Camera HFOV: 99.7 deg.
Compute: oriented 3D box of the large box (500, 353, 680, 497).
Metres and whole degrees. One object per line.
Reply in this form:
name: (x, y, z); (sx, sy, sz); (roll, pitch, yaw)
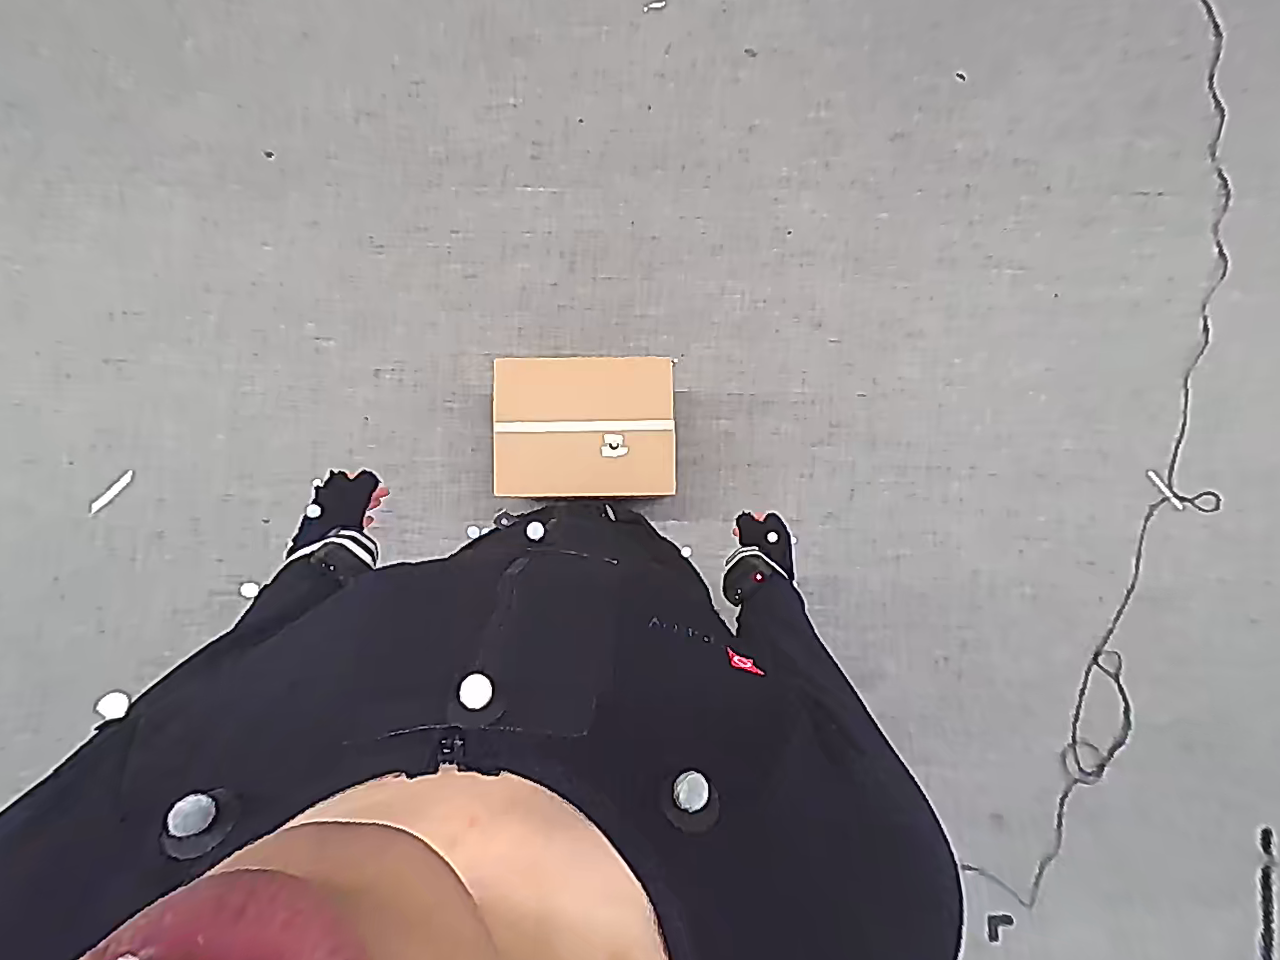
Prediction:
large box: (-0.117, -0.121, 1.357); (0.408, 0.320, 0.320); (-1, 88, -1)
